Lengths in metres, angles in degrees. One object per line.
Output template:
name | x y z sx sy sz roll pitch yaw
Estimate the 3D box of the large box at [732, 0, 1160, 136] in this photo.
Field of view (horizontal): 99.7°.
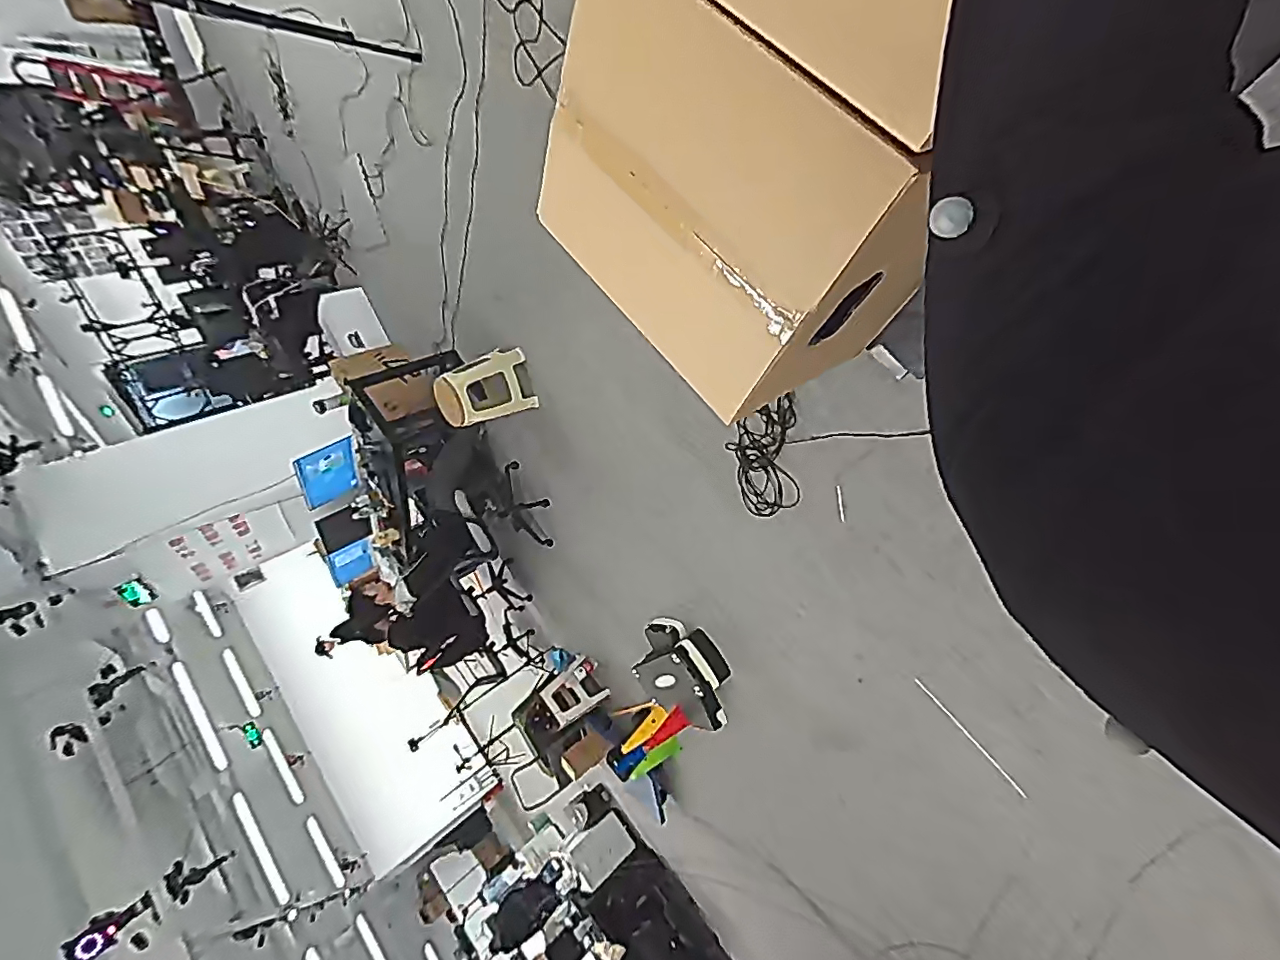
large box | 0.243 -0.532 0.412 0.408 0.320 0.320 50 145 16
